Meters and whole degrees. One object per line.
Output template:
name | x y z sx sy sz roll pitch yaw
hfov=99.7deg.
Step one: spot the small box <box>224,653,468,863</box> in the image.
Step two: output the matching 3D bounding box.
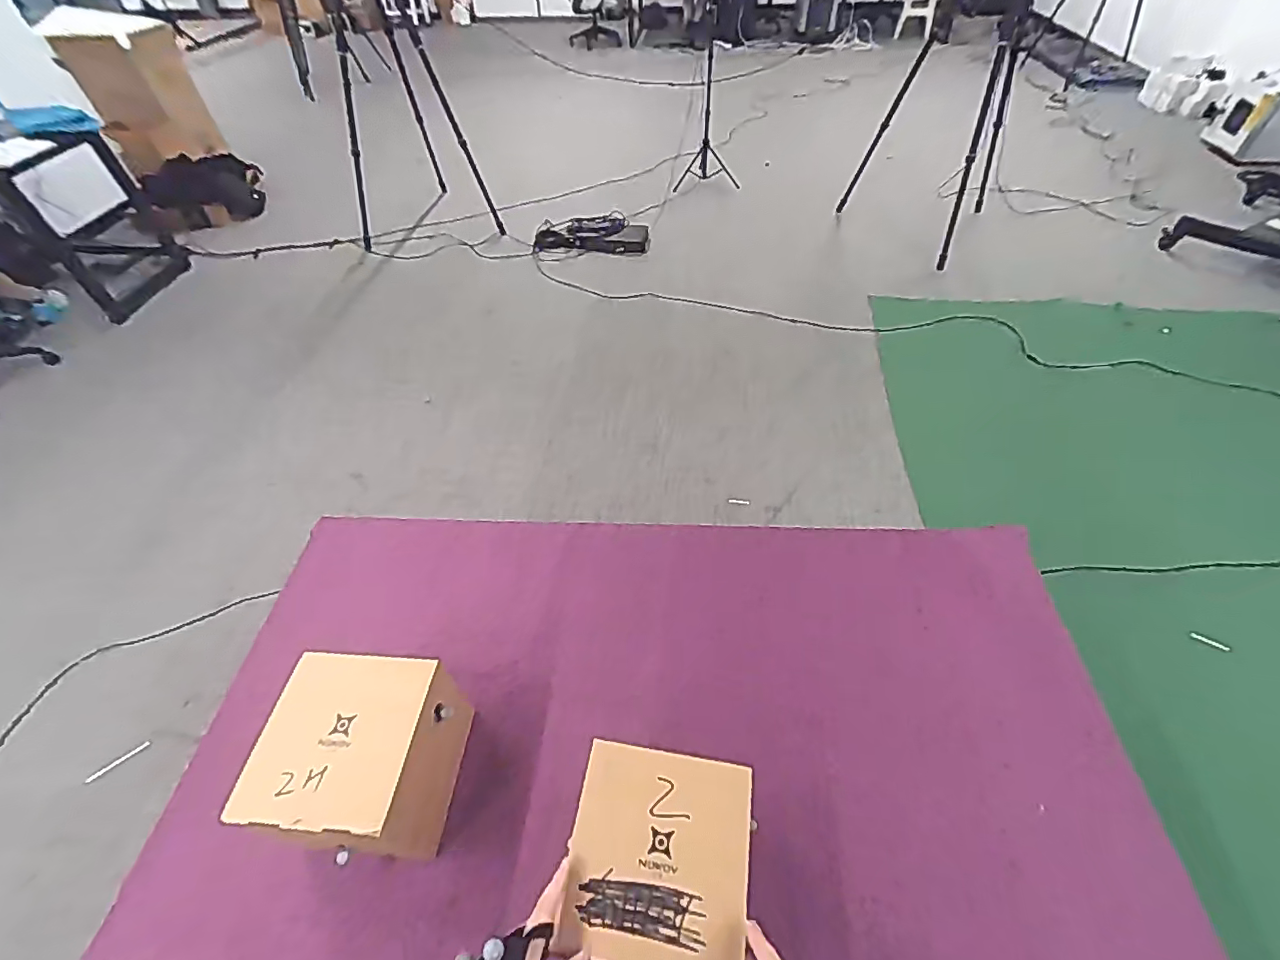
small box | -0.316 0.325 0.633 0.168 0.176 0.179 2 49 4
